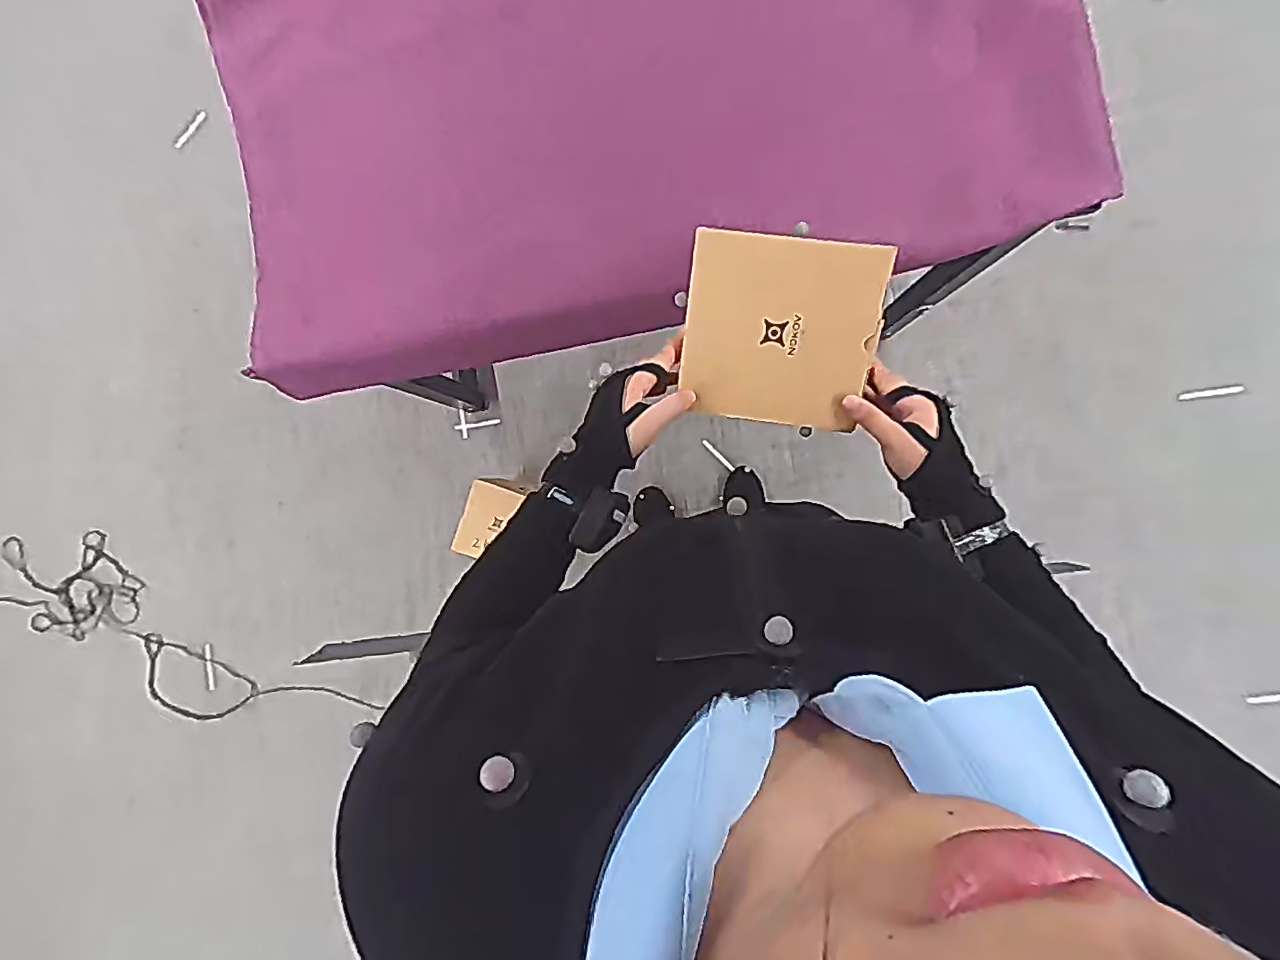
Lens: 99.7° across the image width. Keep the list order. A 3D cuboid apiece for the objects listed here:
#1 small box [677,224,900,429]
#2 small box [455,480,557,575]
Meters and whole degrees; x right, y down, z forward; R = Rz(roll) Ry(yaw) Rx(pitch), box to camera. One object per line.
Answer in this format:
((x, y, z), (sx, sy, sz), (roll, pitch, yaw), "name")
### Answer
((0.137, -0.158, 0.567), (0.179, 0.176, 0.168), (7, 107, 3), "small box")
((-0.310, 0.105, 1.291), (0.168, 0.176, 0.179), (19, 92, 4), "small box")
